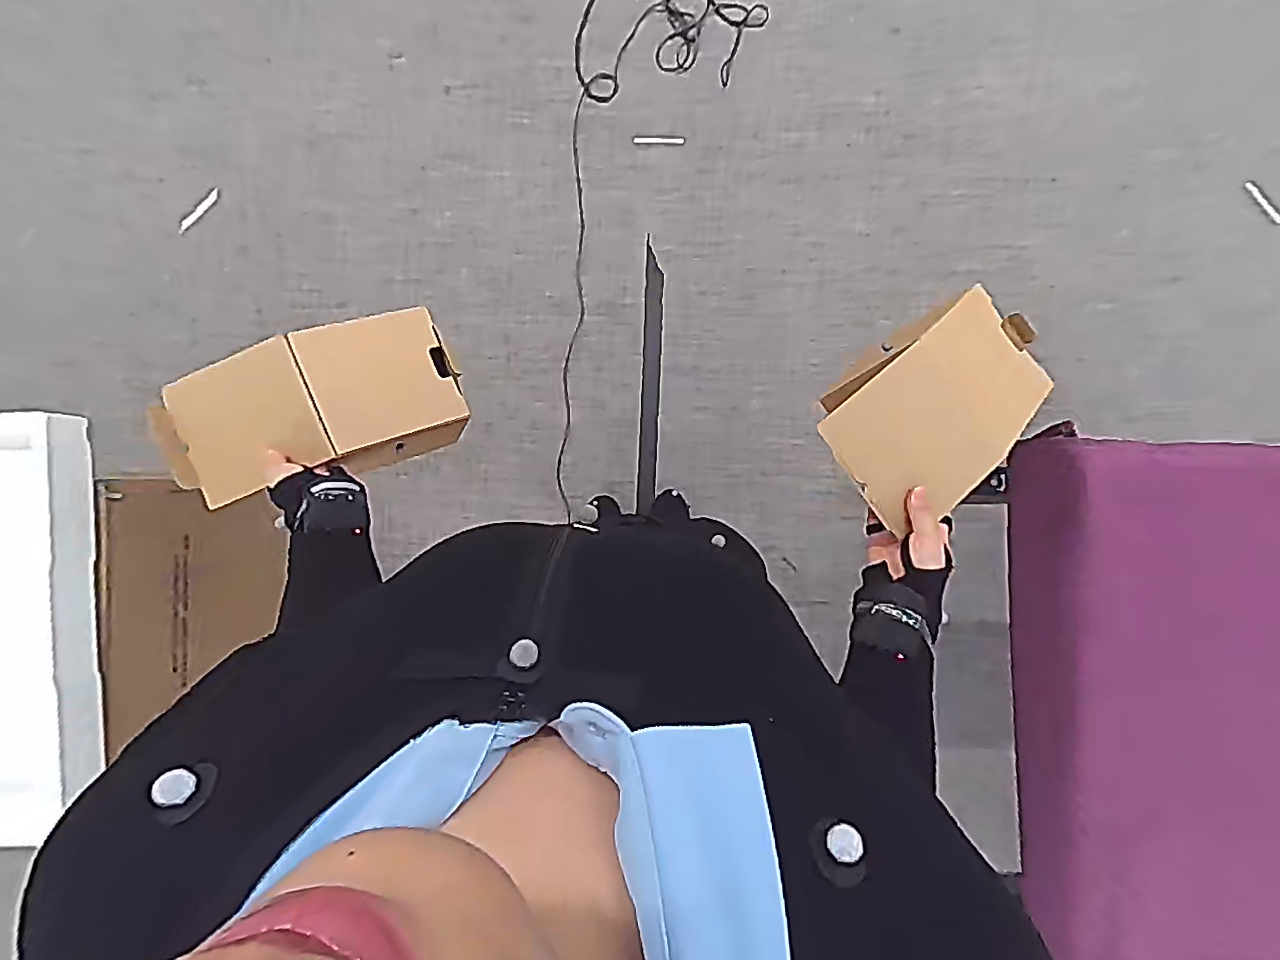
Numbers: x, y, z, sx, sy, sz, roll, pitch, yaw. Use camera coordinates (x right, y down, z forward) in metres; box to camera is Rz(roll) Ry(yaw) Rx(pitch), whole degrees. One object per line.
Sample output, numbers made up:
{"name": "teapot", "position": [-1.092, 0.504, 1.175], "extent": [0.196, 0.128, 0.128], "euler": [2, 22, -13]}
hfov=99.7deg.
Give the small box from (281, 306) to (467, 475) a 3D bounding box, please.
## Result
{"name": "small box", "position": [-0.364, -0.118, 0.759], "extent": [0.179, 0.176, 0.168], "euler": [-23, 91, -27]}
